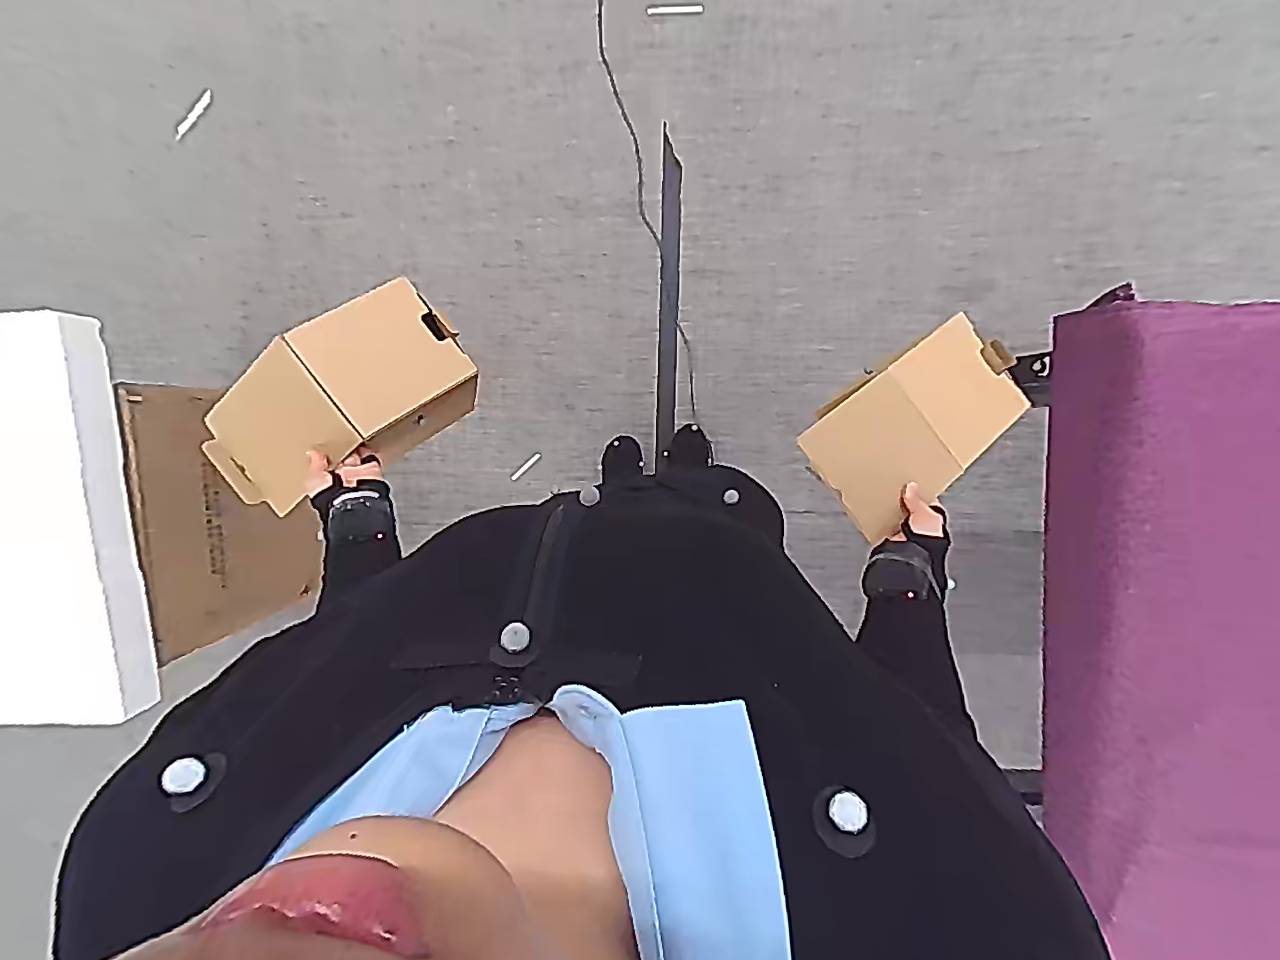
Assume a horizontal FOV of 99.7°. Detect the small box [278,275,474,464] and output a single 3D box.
[{"bbox_3d":[-0.355,-0.144,0.762,0.179,0.176,0.168,-39,93,-23],"label":"small box"}]
